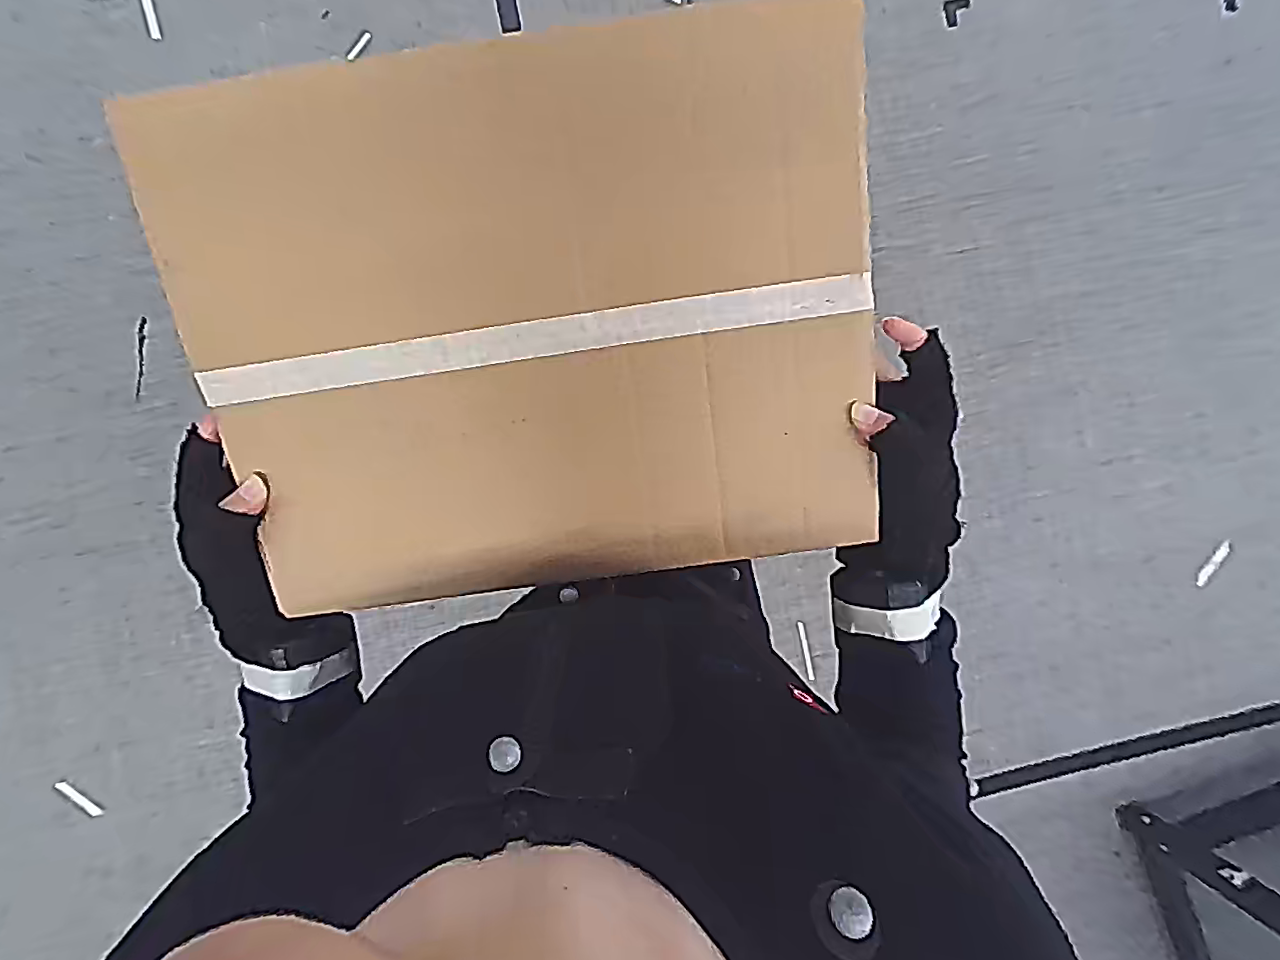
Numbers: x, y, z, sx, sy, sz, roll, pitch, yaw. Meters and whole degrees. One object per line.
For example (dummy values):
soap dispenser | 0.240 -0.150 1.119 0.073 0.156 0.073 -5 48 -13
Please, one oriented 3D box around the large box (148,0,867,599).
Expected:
large box | -0.066 -0.127 0.479 0.408 0.320 0.320 -8 105 2
